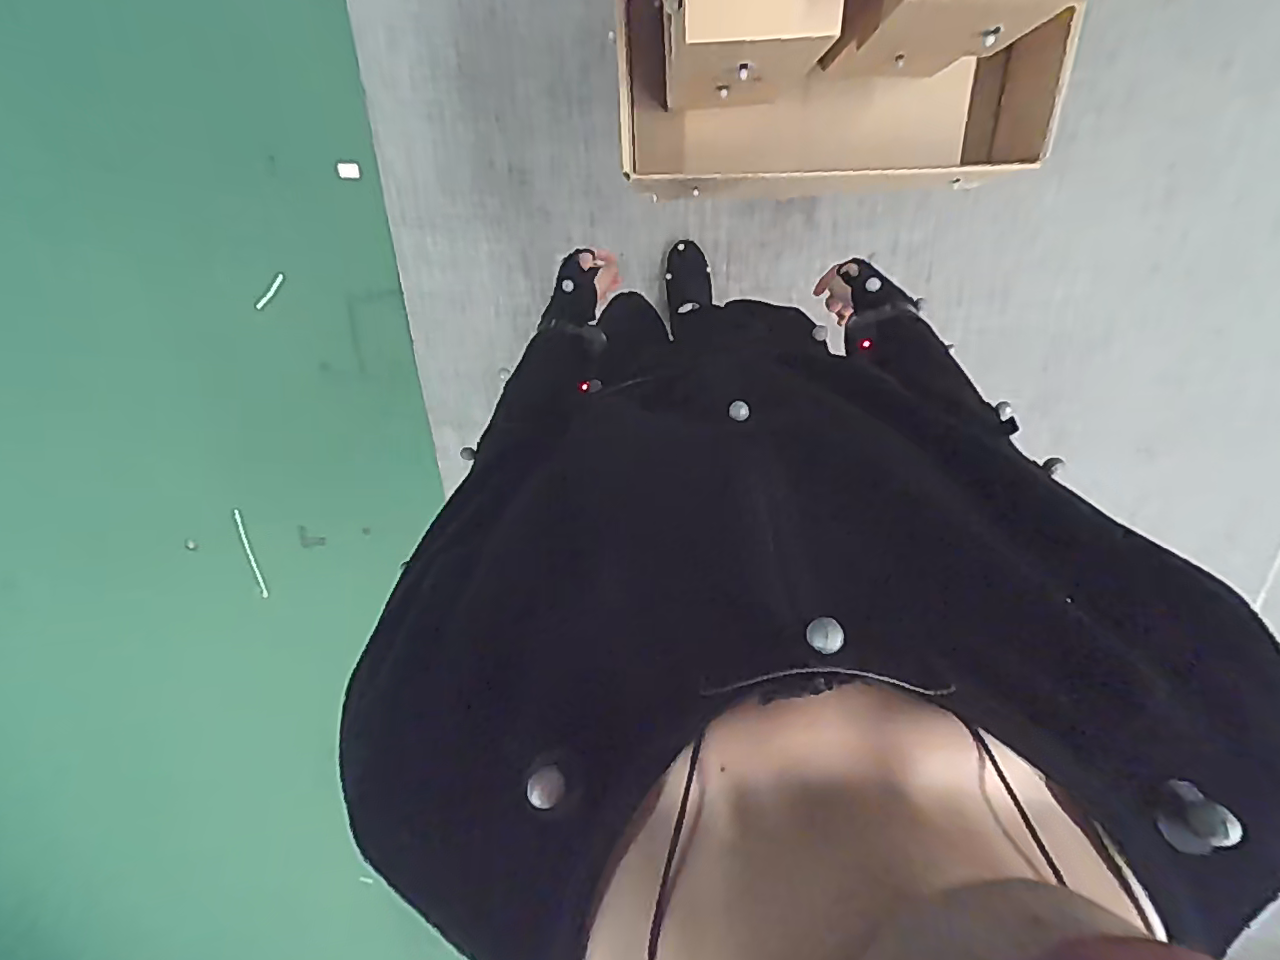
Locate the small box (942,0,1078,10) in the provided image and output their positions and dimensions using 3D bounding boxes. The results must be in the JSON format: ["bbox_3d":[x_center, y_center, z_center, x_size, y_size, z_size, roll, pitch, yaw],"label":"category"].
[{"bbox_3d":[0.362,-0.529,0.448,0.179,0.176,0.168,5,112,1],"label":"small box"}]

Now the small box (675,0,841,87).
[{"bbox_3d":[0.127,-0.566,0.611,0.168,0.176,0.179,-1,113,1],"label":"small box"}]
